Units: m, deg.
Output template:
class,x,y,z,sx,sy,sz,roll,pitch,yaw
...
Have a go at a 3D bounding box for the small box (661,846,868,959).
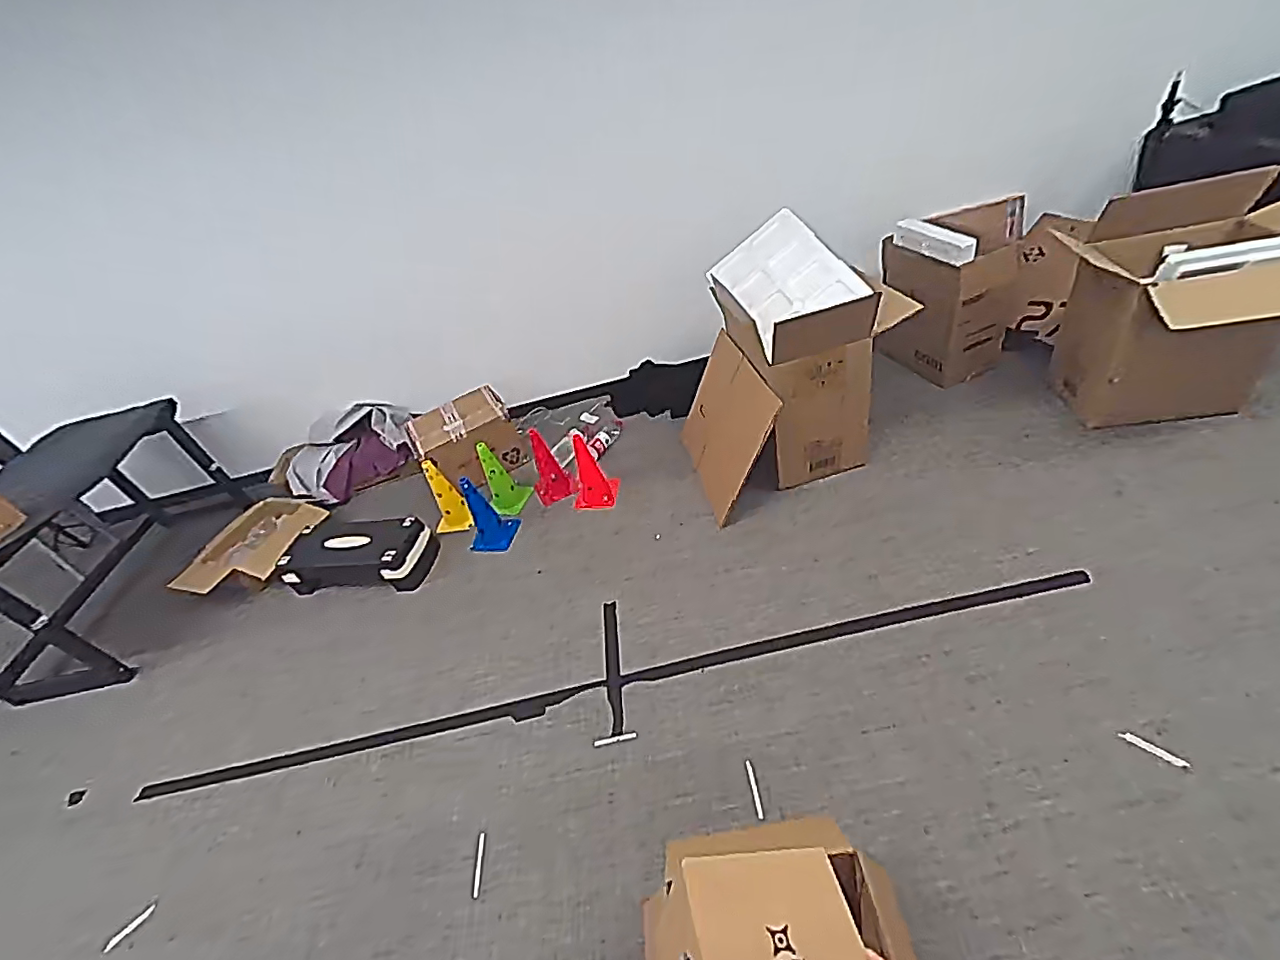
class,x,y,z,sx,sy,sz,roll,pitch,yaw
small box,0.121,0.509,0.544,0.168,0.176,0.179,3,31,-10
